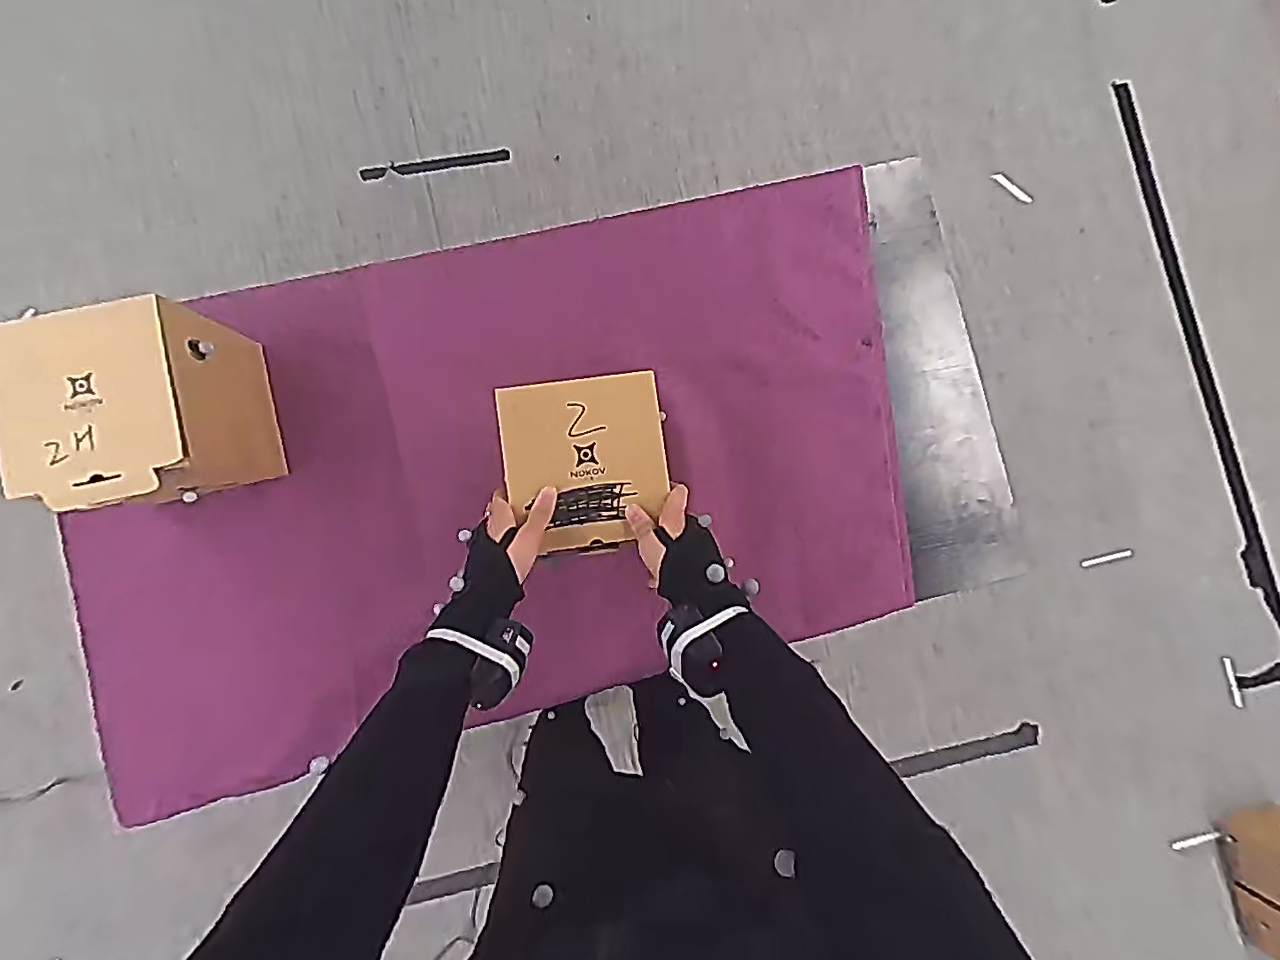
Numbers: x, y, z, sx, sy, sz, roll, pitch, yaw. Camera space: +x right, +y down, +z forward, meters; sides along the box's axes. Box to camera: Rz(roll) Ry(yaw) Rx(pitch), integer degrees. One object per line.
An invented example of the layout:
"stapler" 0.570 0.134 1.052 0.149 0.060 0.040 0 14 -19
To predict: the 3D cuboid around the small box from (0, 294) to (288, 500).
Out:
"small box" -0.533 -0.079 0.604 0.168 0.176 0.179 -12 88 -4
